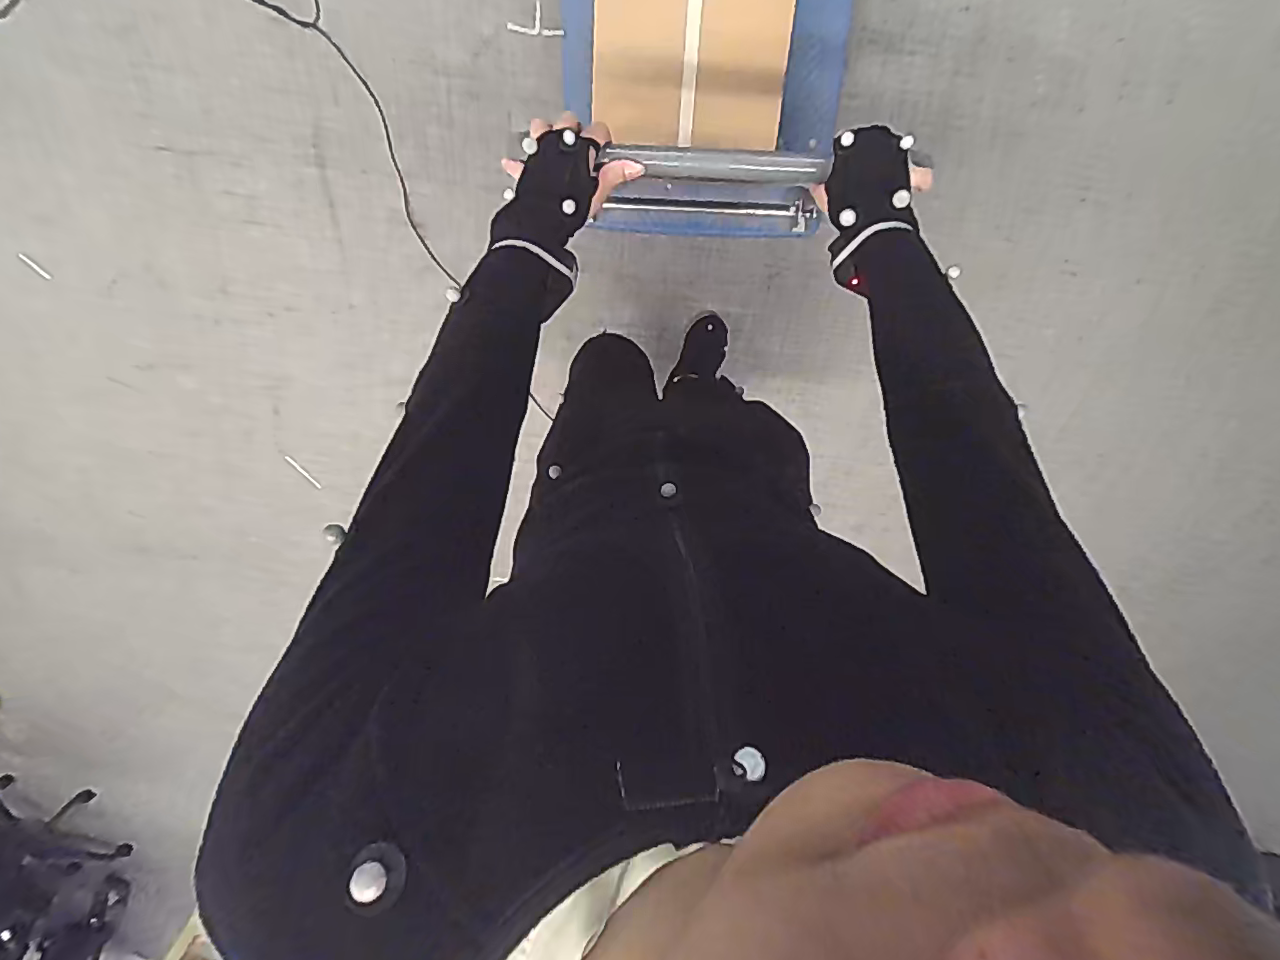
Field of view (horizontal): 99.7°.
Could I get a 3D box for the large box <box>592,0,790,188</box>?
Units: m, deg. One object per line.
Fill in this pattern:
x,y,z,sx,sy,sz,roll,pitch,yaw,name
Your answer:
0.089,-0.783,0.992,0.320,0.320,0.408,4,111,1,large box
